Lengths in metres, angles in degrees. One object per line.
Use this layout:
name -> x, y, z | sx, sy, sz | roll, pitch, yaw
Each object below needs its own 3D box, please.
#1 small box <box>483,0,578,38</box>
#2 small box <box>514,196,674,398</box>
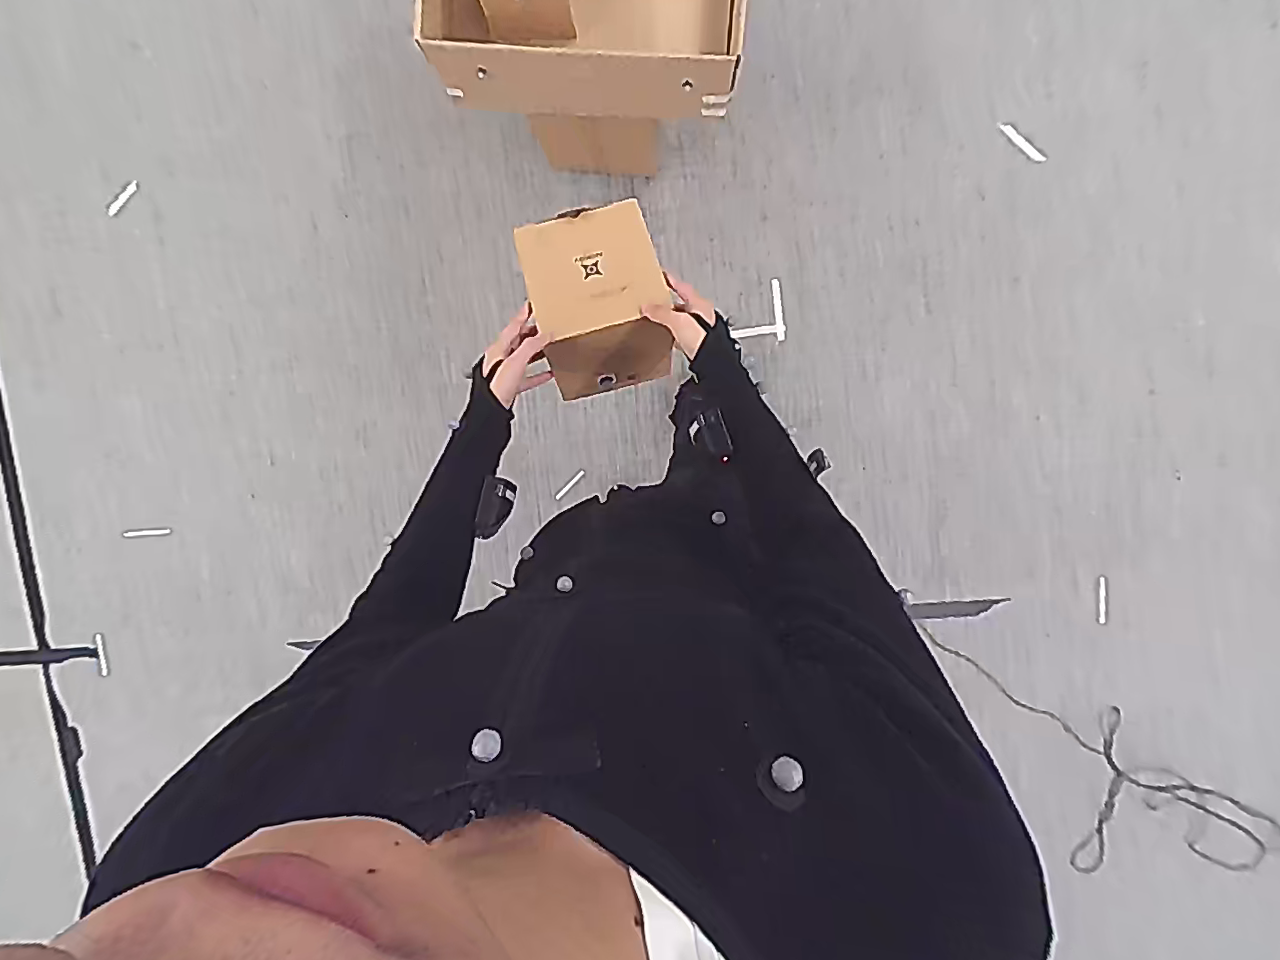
small box -> -0.218, -0.994, 1.038 | 0.179, 0.176, 0.168 | 1, 95, 2
small box -> -0.058, -0.239, 0.735 | 0.168, 0.176, 0.179 | -16, 72, -3
